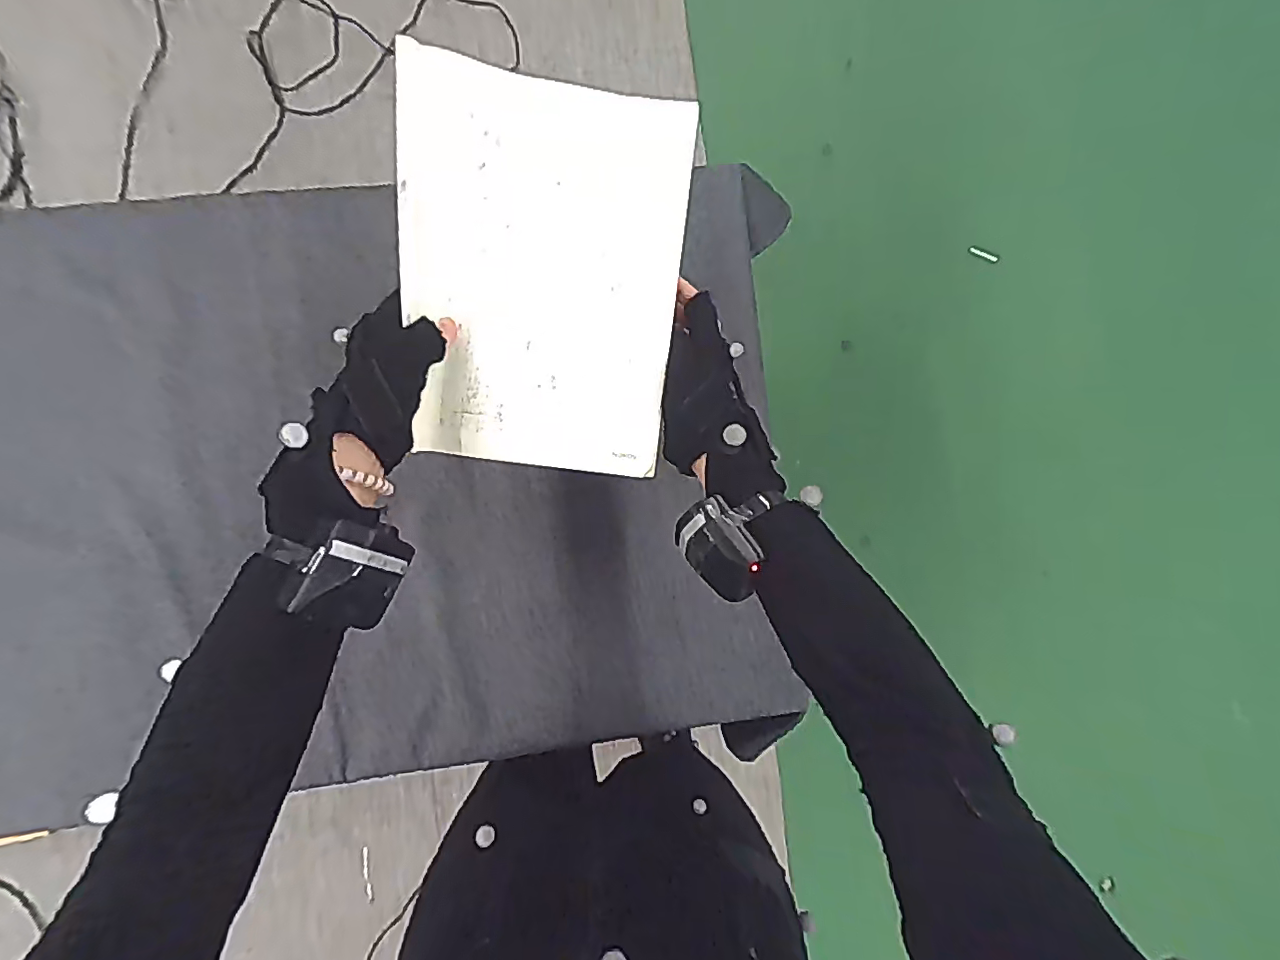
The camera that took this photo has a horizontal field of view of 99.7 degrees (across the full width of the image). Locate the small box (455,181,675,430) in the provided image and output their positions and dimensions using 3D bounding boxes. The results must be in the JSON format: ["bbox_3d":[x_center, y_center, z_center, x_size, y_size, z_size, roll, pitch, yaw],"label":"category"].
[{"bbox_3d":[-0.064,-0.144,0.497,0.168,0.176,0.179,-4,91,-4],"label":"small box"}]
